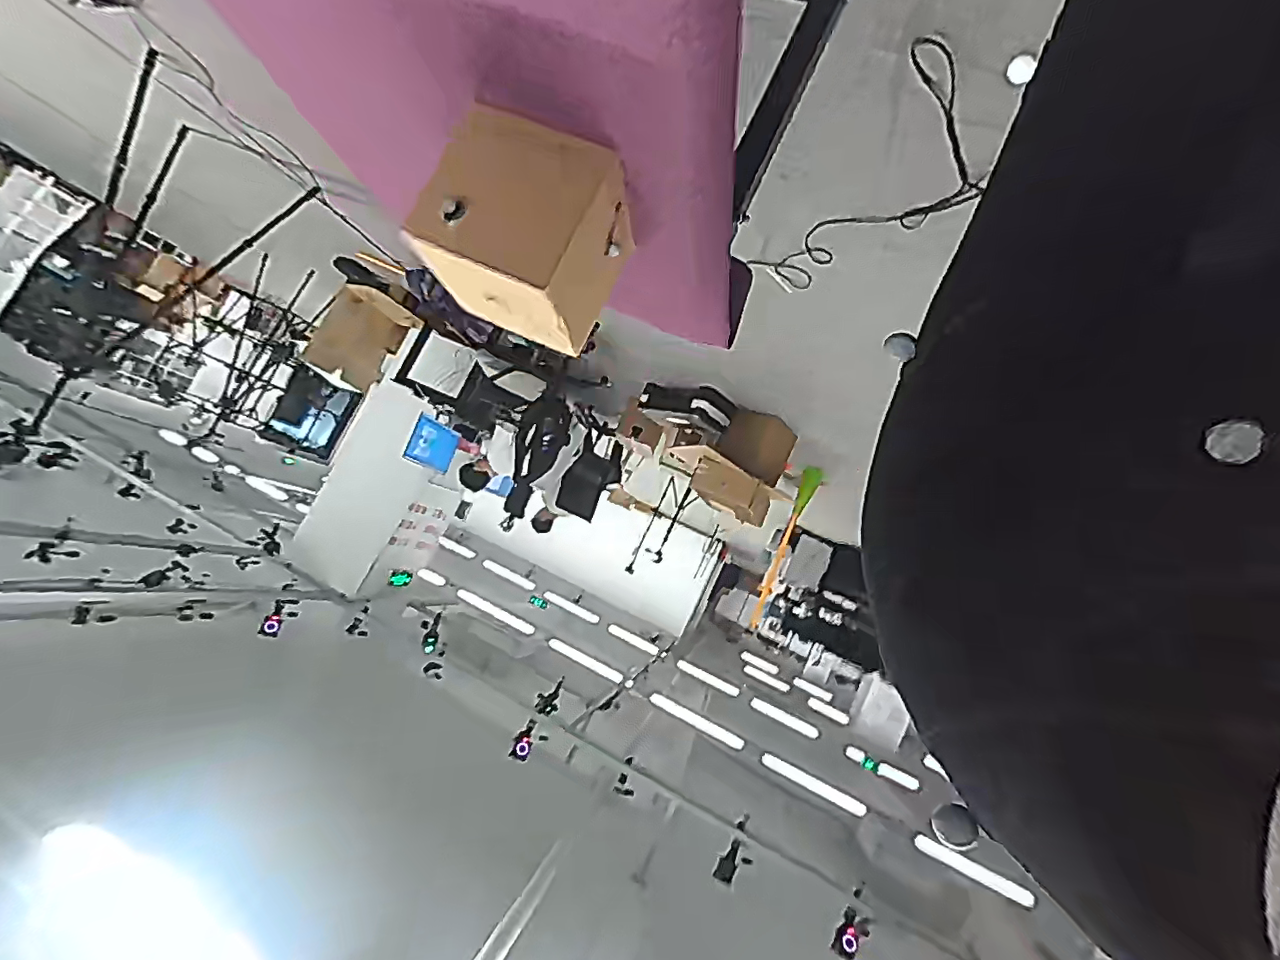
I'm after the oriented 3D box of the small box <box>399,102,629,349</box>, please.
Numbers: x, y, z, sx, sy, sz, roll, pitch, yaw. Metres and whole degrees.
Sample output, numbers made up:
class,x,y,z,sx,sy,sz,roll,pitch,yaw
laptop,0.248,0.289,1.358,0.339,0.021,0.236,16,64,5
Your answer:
class,x,y,z,sx,sy,sz,roll,pitch,yaw
small box,-0.130,-0.288,0.625,0.179,0.176,0.168,24,173,7
